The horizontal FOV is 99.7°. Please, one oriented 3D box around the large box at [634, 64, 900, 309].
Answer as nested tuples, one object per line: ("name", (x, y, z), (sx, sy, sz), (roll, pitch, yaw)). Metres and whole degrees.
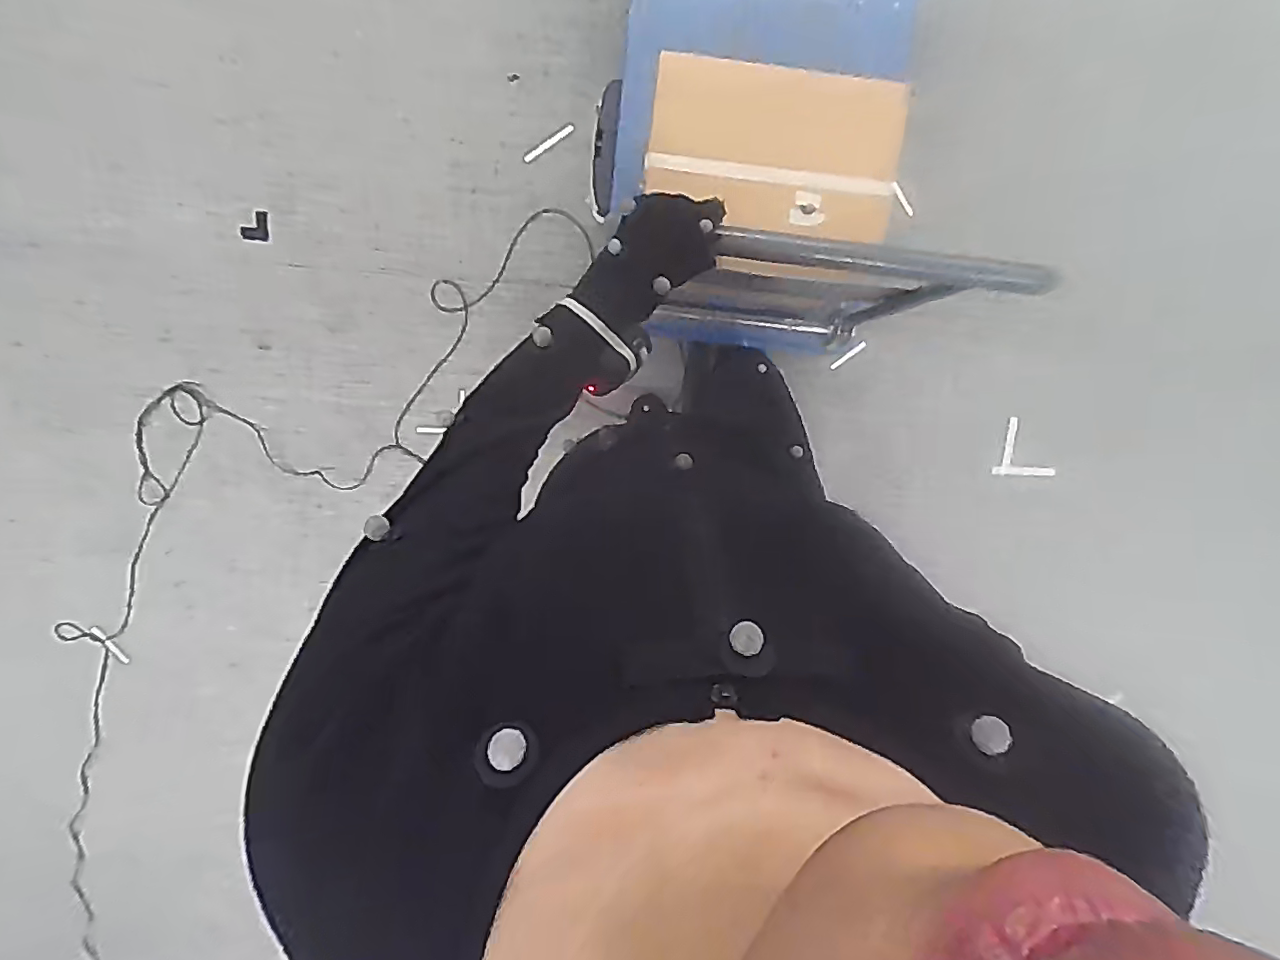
("large box", (0.200, -0.516, 1.027), (0.408, 0.320, 0.320), (6, 103, -3))
